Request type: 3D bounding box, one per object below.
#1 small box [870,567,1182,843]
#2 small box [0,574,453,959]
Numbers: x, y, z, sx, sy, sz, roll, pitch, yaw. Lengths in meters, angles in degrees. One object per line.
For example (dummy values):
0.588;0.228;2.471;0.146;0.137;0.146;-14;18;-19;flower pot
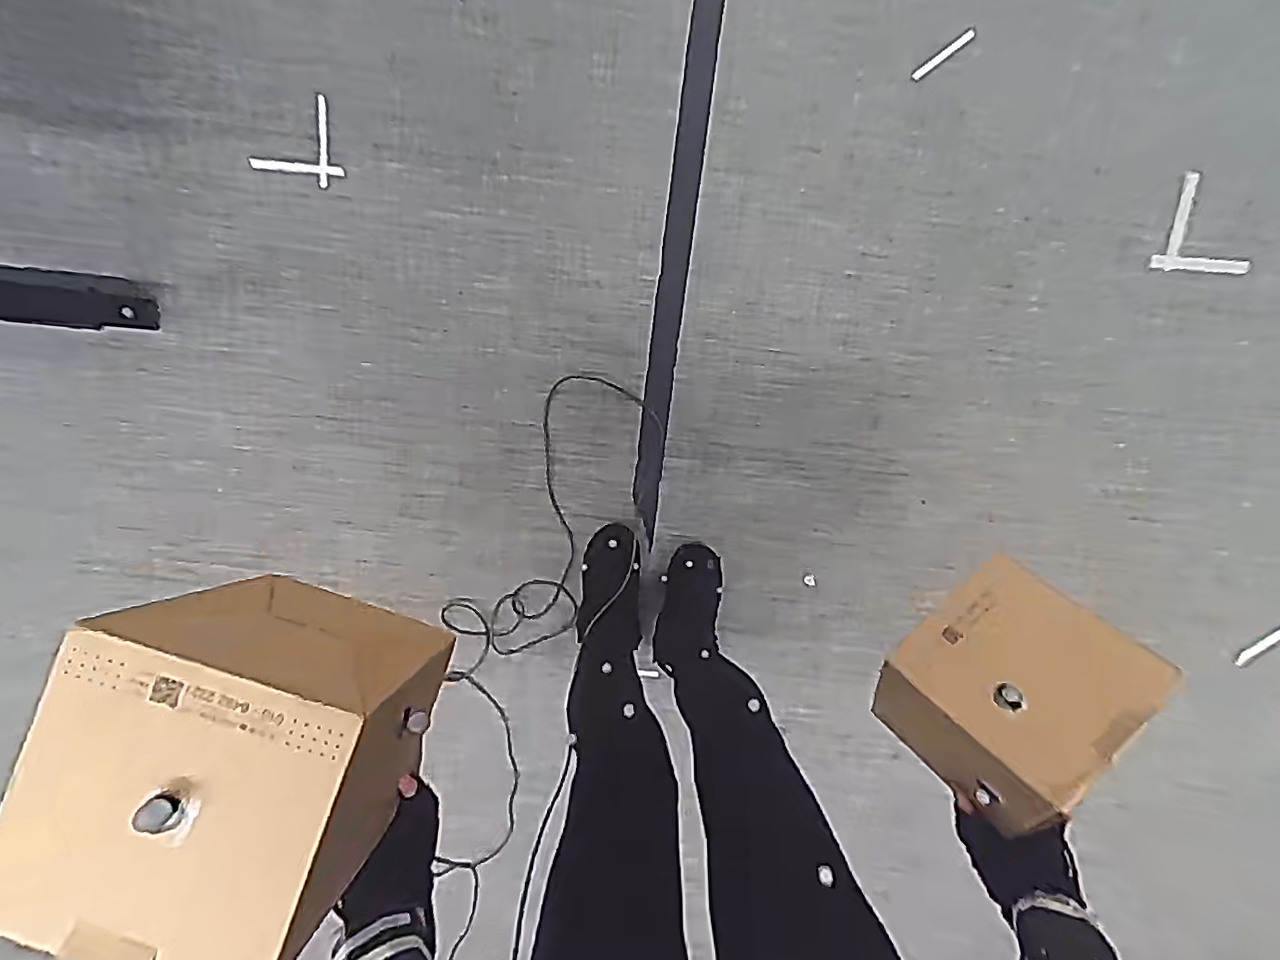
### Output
0.355;0.213;0.537;0.168;0.176;0.179;-35;140;-13;small box
-0.255;0.172;0.373;0.168;0.179;0.176;19;86;-1;small box
